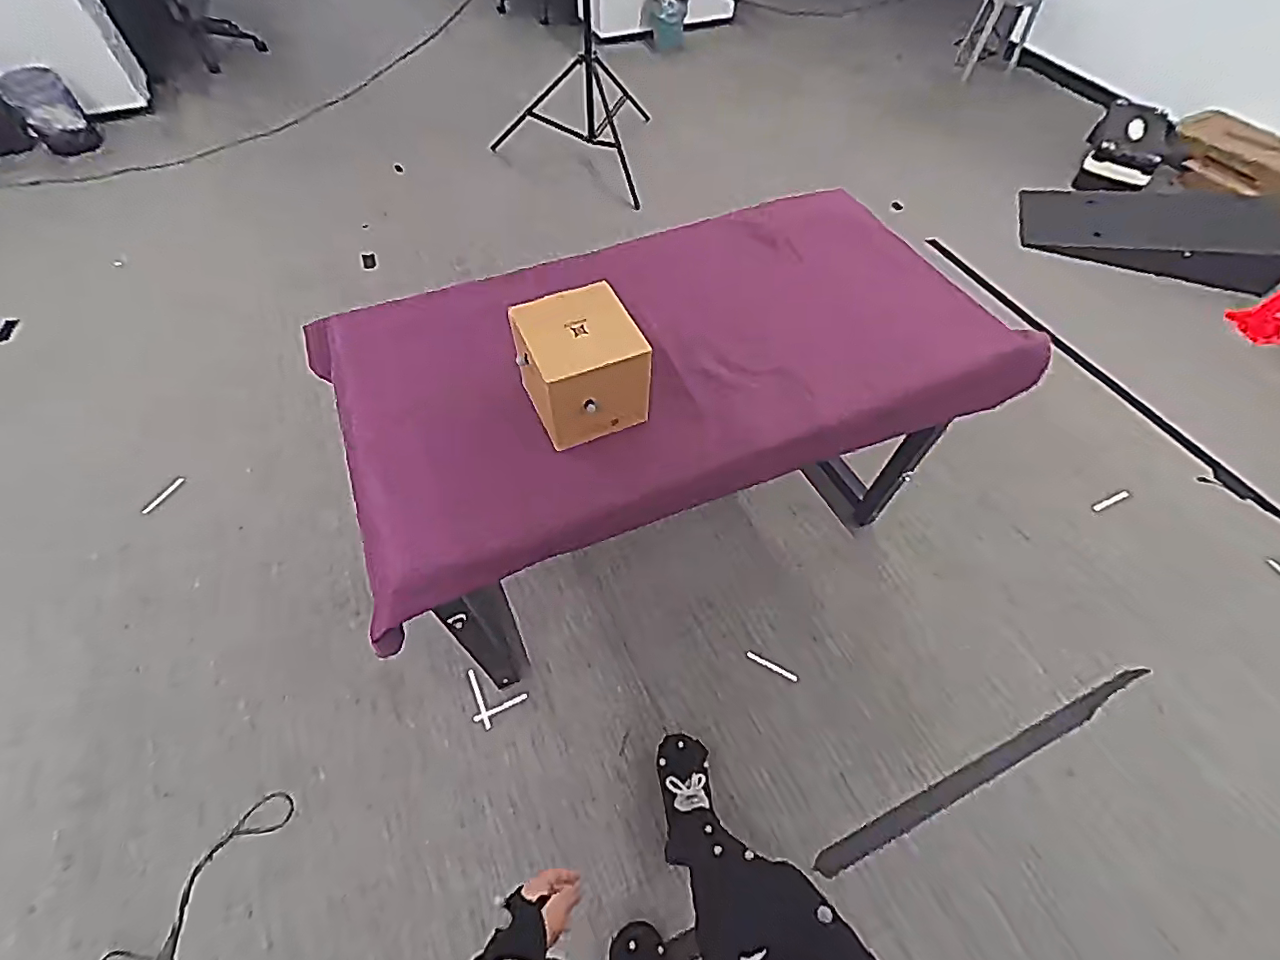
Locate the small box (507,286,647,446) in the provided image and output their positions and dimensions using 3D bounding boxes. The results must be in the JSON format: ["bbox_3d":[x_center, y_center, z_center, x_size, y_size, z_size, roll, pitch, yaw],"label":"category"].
[{"bbox_3d":[-0.097,-0.176,0.876,0.168,0.176,0.179,-21,60,-15],"label":"small box"}]
